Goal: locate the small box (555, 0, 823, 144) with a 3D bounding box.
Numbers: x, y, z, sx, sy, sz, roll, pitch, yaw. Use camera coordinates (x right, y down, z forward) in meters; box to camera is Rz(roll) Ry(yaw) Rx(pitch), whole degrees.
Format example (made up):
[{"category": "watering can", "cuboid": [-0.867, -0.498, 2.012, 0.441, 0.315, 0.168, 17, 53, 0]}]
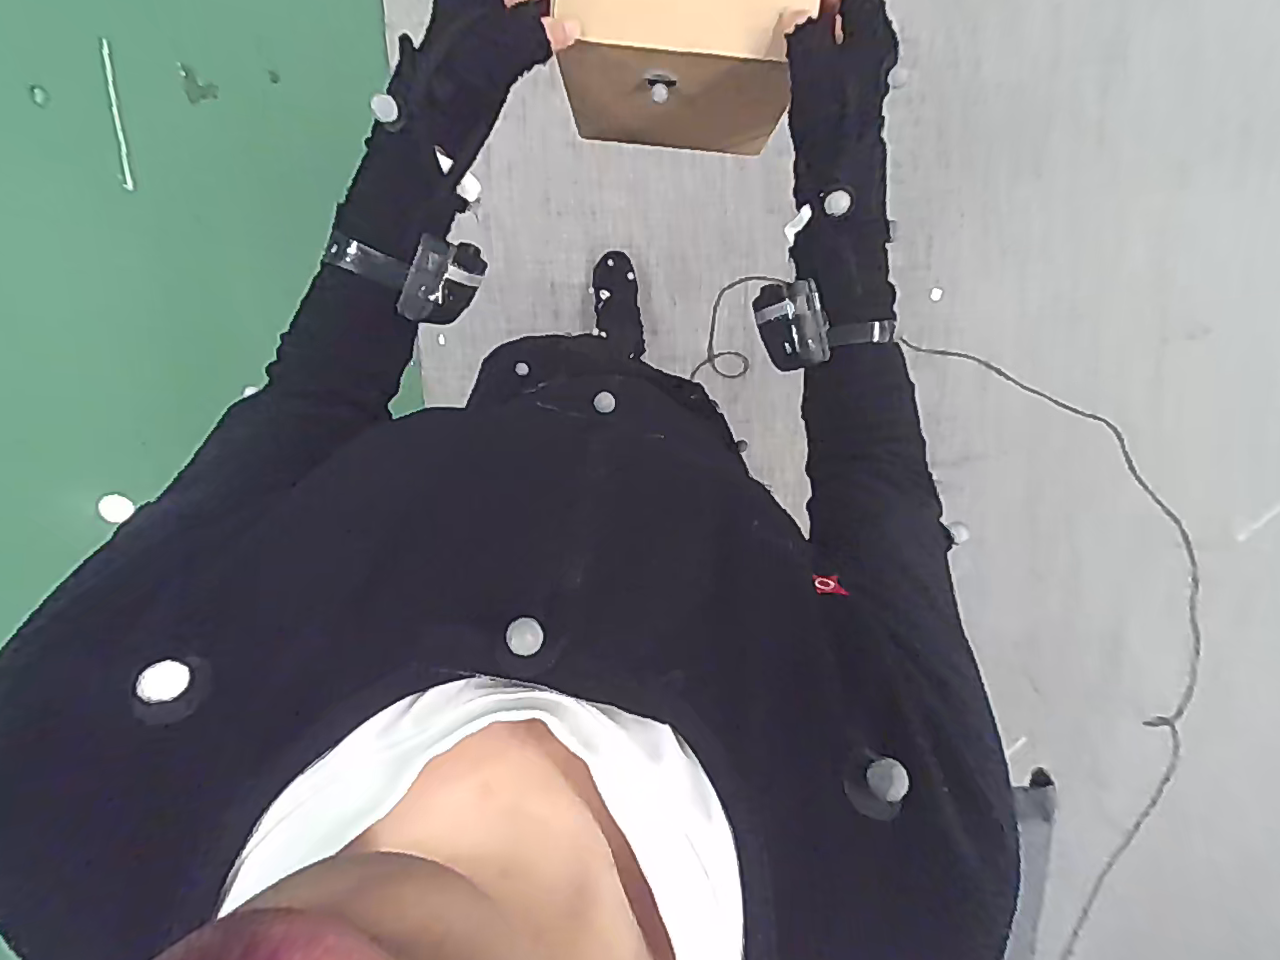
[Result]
[{"category": "small box", "cuboid": [0.039, -0.384, 0.417, 0.179, 0.176, 0.168, 5, 103, -1]}]
